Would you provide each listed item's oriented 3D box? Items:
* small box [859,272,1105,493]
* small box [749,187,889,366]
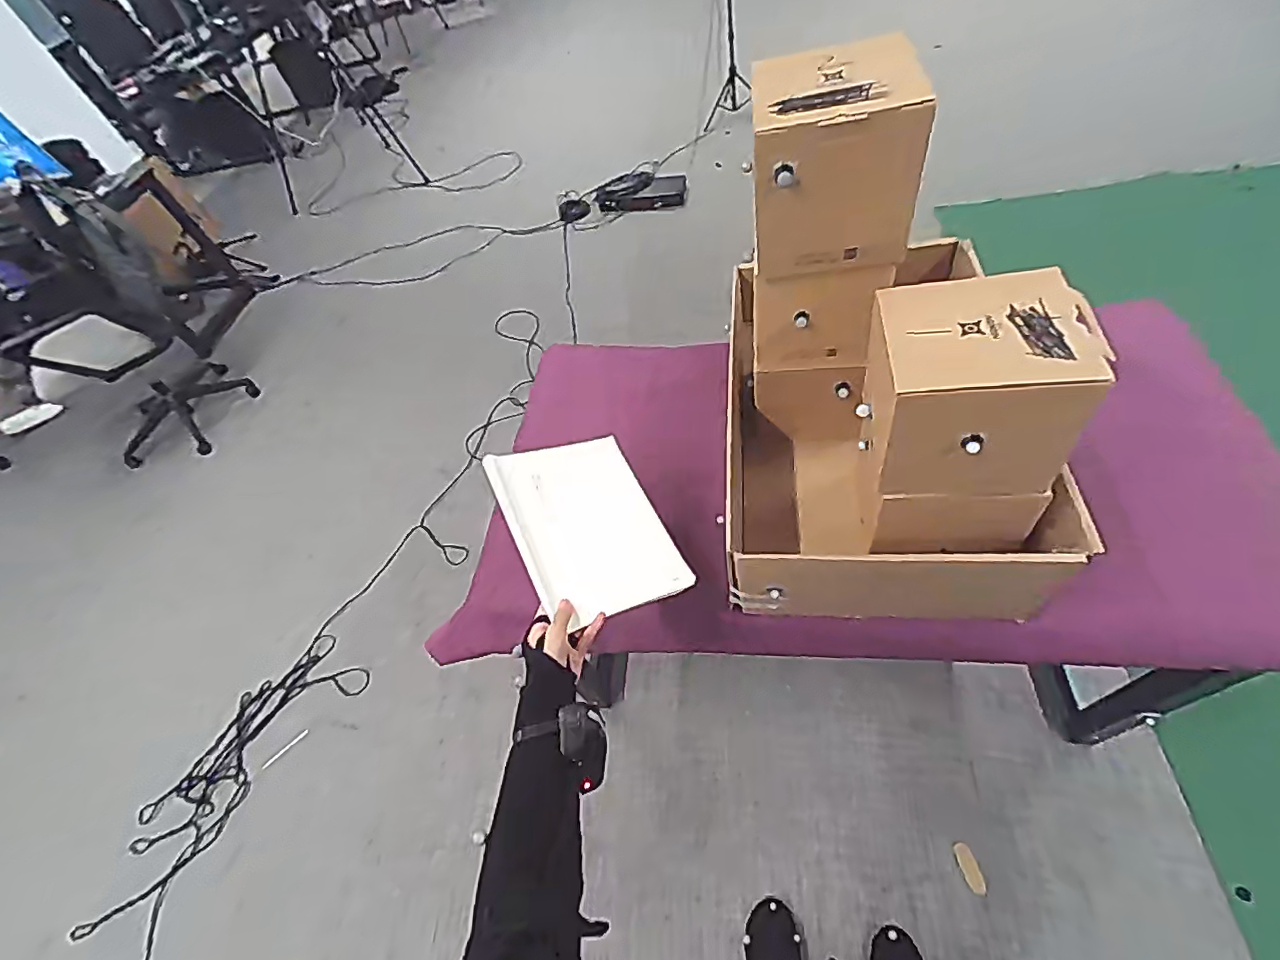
[{"bbox_3d":[0.346,-0.098,0.592,0.179,0.176,0.168,-2,52,16],"label":"small box"},{"bbox_3d":[0.243,-0.274,0.760,0.168,0.176,0.179,0,55,14],"label":"small box"}]
